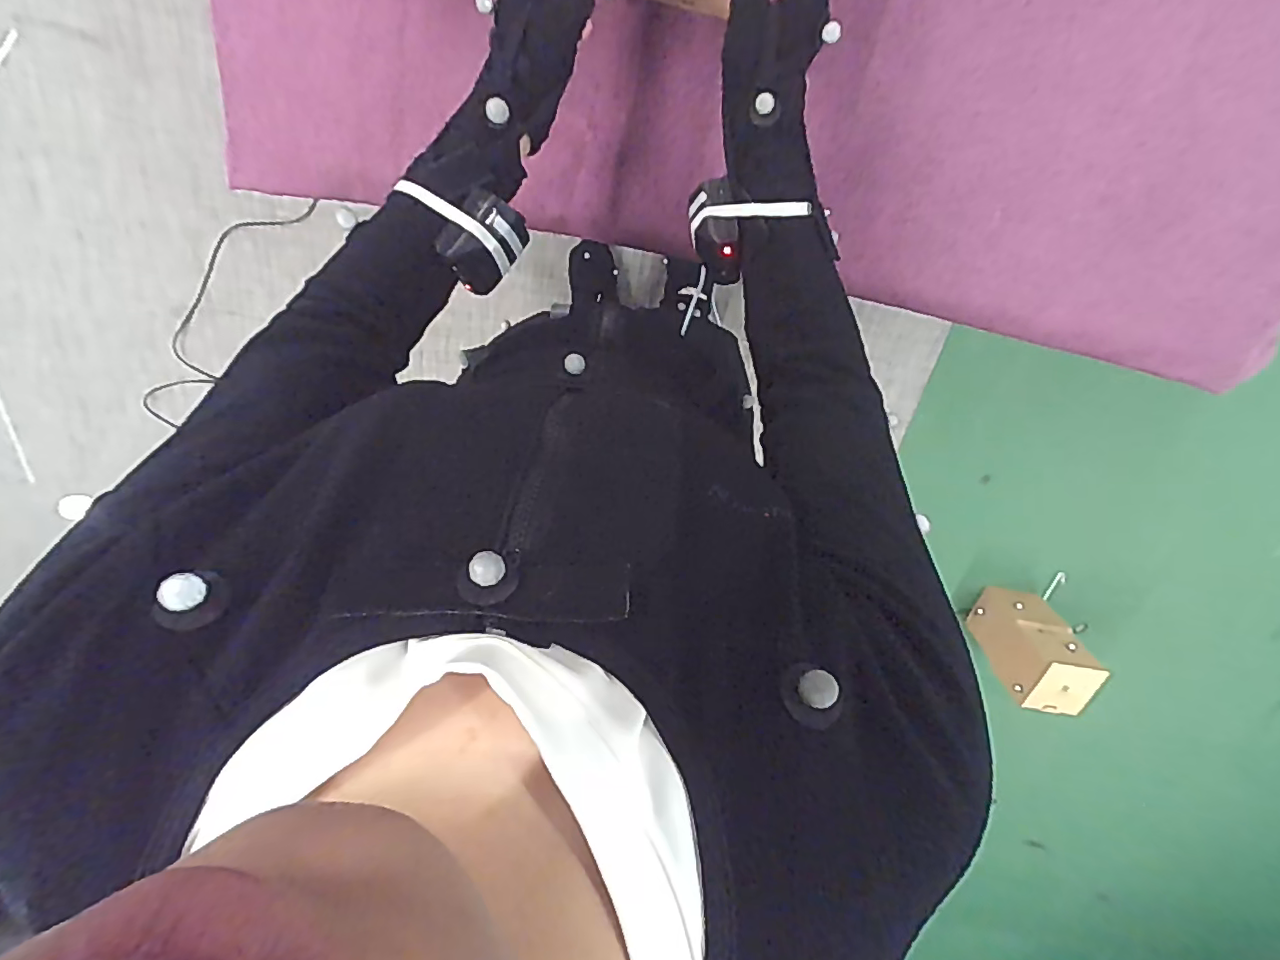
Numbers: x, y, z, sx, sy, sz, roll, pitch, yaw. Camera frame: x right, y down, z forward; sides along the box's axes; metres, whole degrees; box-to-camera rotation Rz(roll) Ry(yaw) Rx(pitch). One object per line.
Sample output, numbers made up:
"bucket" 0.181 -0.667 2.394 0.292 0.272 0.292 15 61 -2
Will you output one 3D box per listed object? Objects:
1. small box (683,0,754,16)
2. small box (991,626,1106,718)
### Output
"small box" 0.042 -0.500 0.414 0.168 0.176 0.179 11 116 -4
"small box" 1.153 0.543 1.545 0.168 0.176 0.179 10 118 -3
